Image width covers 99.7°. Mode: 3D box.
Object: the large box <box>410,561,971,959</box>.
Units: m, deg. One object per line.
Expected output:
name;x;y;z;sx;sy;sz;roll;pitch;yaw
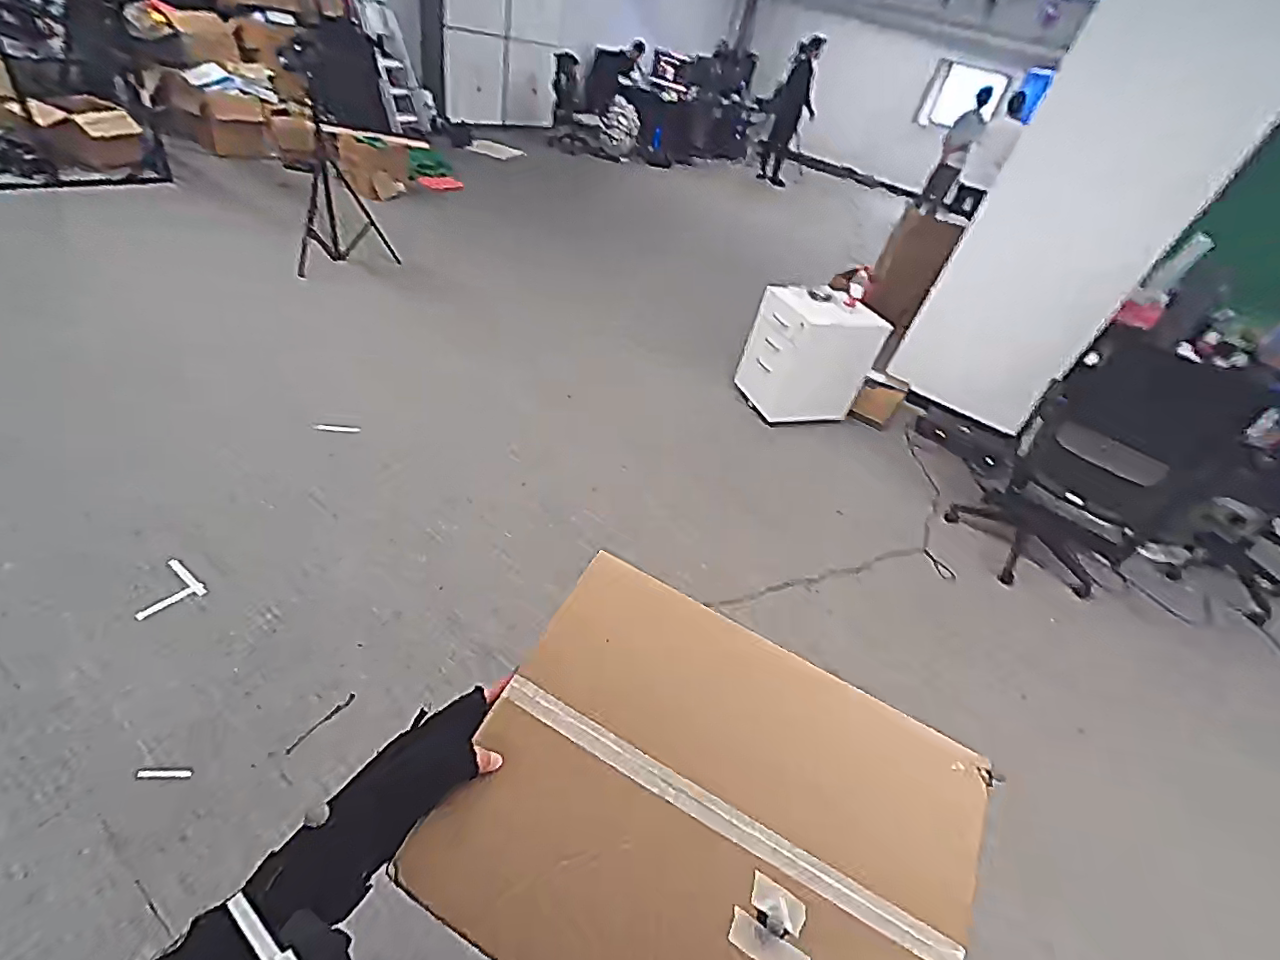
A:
large box;0.048;0.358;0.578;0.408;0.320;0.320;27;58;11
